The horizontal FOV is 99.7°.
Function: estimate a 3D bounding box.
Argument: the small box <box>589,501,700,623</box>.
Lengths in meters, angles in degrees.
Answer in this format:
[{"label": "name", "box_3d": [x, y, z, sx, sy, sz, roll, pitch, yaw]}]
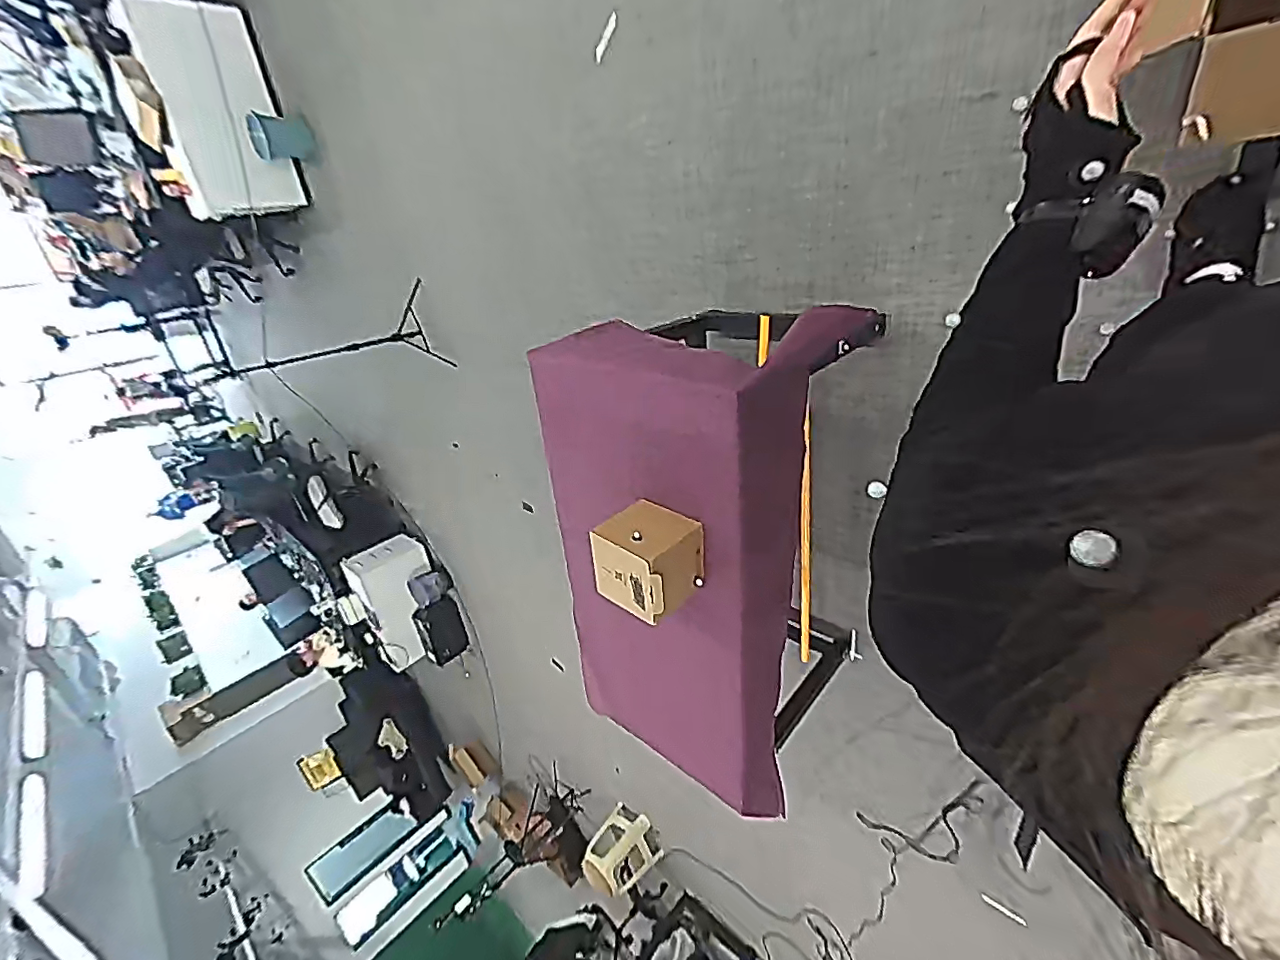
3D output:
[{"label": "small box", "box_3d": [0.016, 0.166, 1.162, 0.179, 0.176, 0.168, 22, 127, 39]}]
